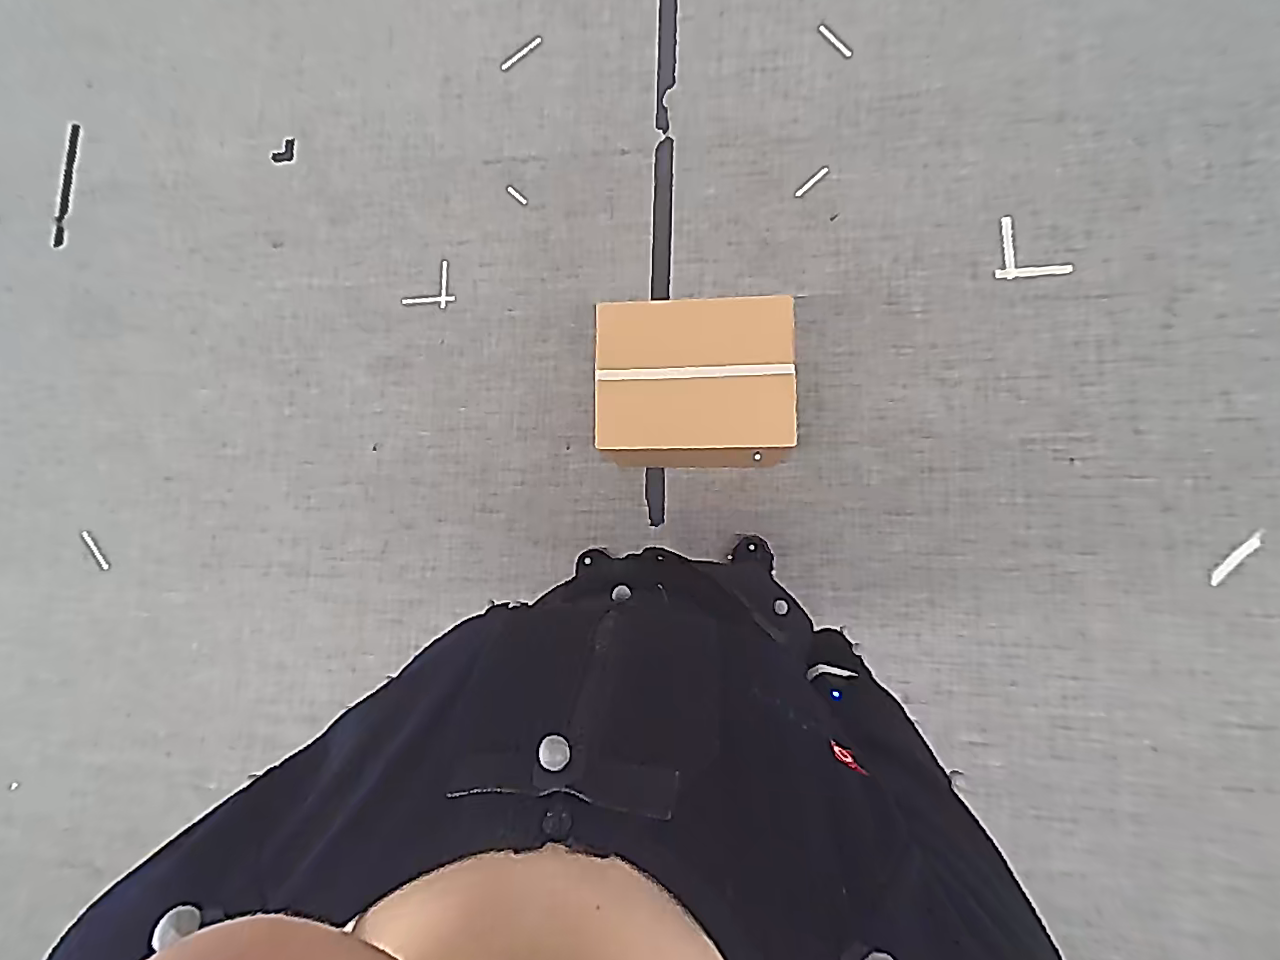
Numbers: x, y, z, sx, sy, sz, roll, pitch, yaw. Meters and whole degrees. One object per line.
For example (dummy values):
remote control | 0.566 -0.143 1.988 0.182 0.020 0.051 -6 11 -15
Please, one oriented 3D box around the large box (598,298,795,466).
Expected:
large box | 0.128 -0.202 1.253 0.408 0.320 0.320 0 84 6
